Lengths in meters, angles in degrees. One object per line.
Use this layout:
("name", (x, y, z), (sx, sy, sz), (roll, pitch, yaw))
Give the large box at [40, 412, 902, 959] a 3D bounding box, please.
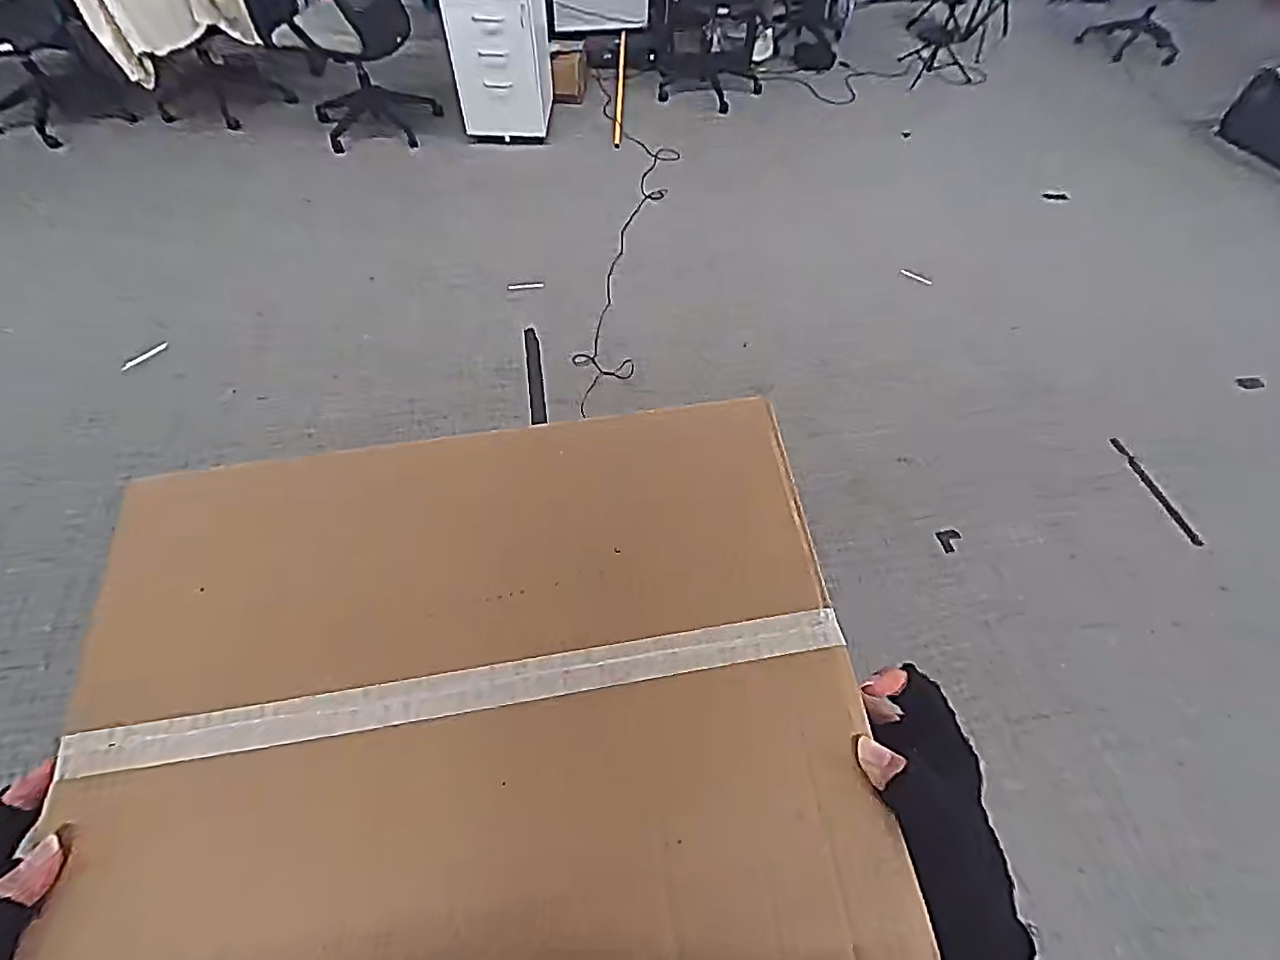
("large box", (-0.093, 0.179, 0.435), (0.408, 0.320, 0.320), (-8, 64, -4))
